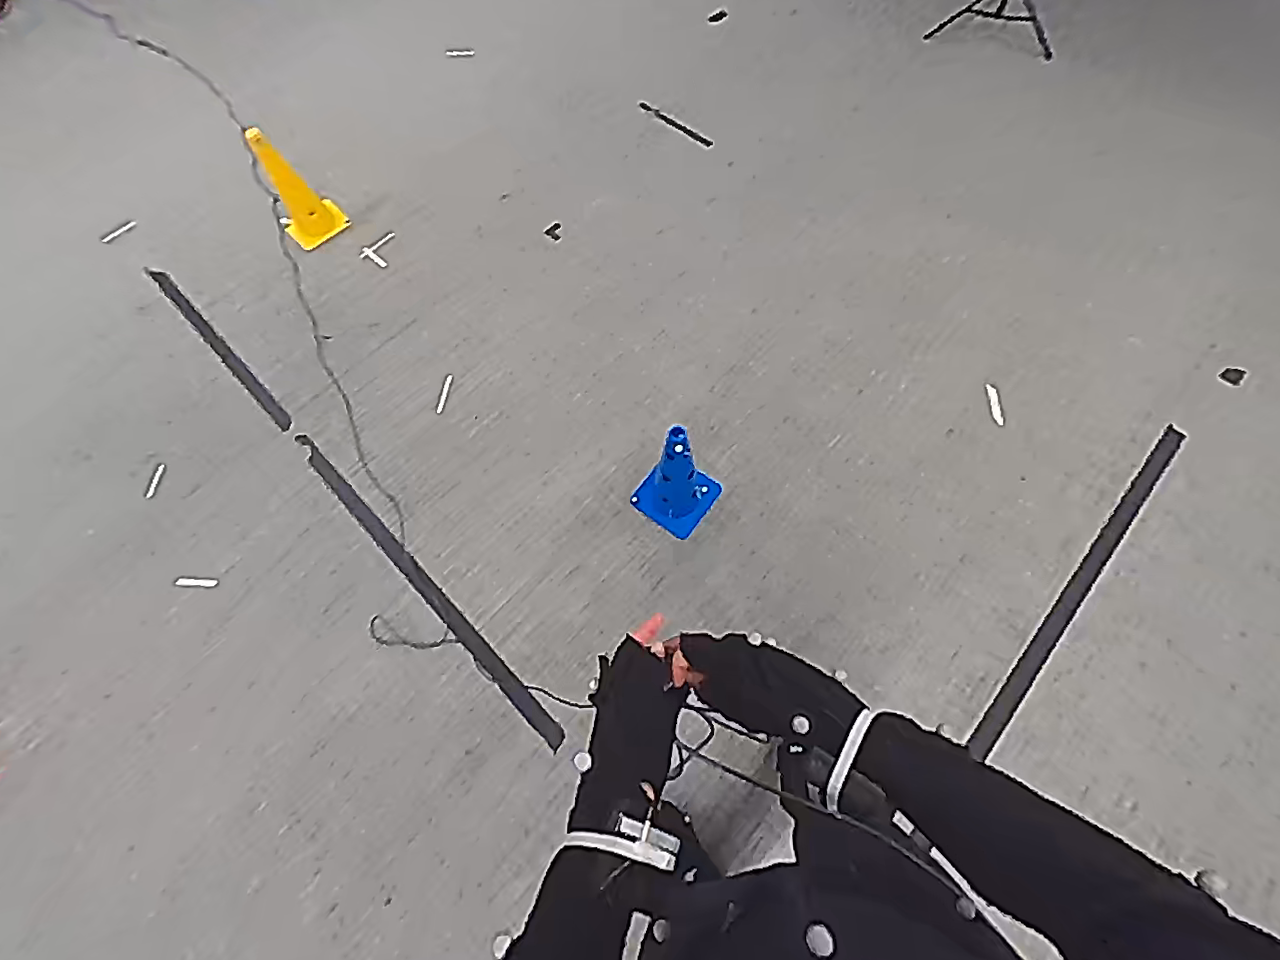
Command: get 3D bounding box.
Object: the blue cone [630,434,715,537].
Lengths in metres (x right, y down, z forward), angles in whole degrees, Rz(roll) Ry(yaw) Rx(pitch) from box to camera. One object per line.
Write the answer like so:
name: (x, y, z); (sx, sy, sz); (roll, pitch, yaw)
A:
blue cone: (0.084, -0.019, 1.366); (0.193, 0.380, 0.192); (35, 73, 17)
